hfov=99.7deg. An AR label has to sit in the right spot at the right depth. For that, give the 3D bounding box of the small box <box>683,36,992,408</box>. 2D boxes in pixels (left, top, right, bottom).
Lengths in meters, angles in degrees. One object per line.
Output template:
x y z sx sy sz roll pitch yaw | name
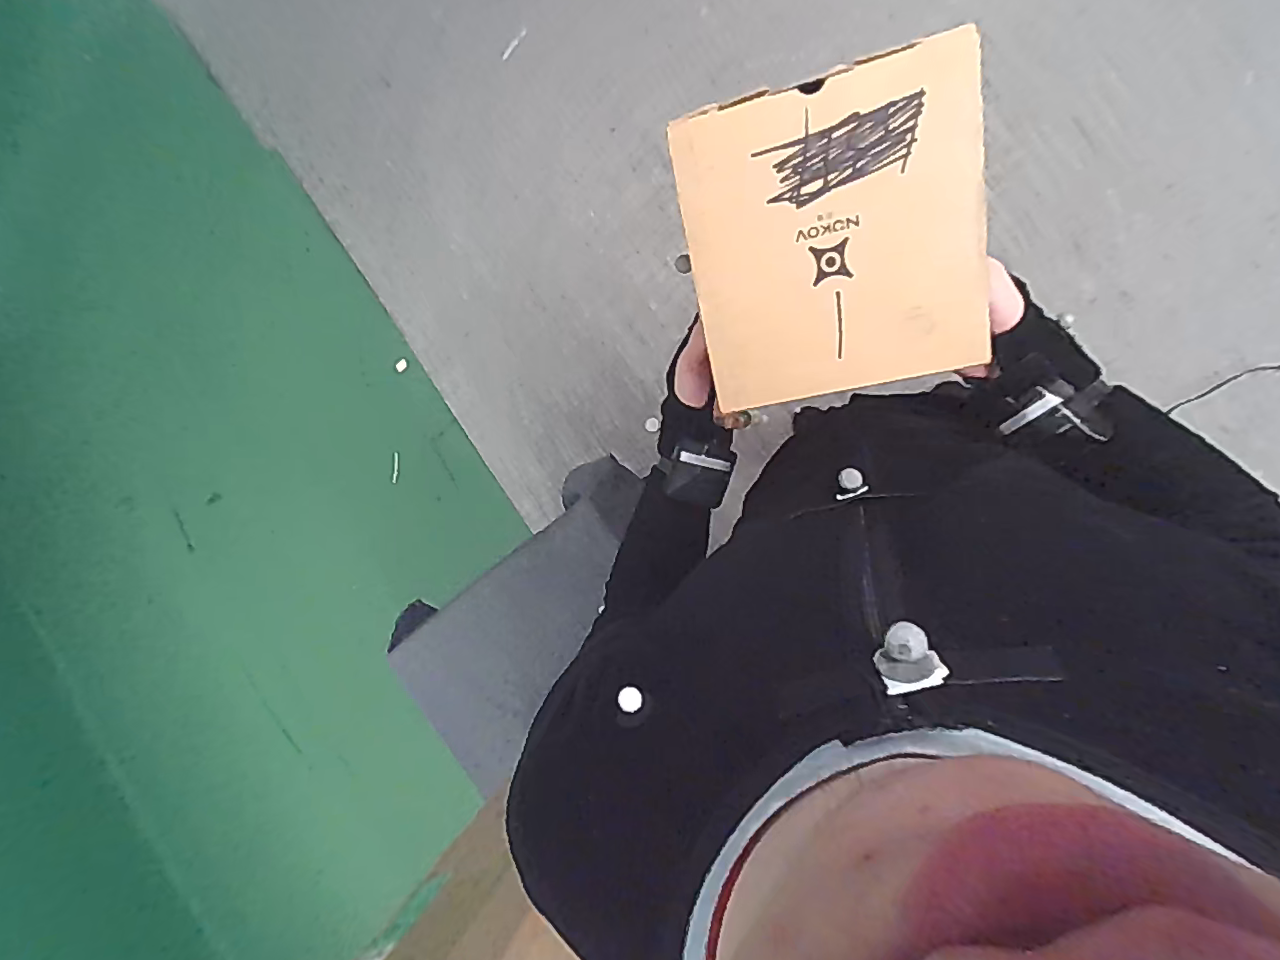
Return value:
0.132 -0.166 0.395 0.168 0.176 0.179 -8 109 14 | small box
